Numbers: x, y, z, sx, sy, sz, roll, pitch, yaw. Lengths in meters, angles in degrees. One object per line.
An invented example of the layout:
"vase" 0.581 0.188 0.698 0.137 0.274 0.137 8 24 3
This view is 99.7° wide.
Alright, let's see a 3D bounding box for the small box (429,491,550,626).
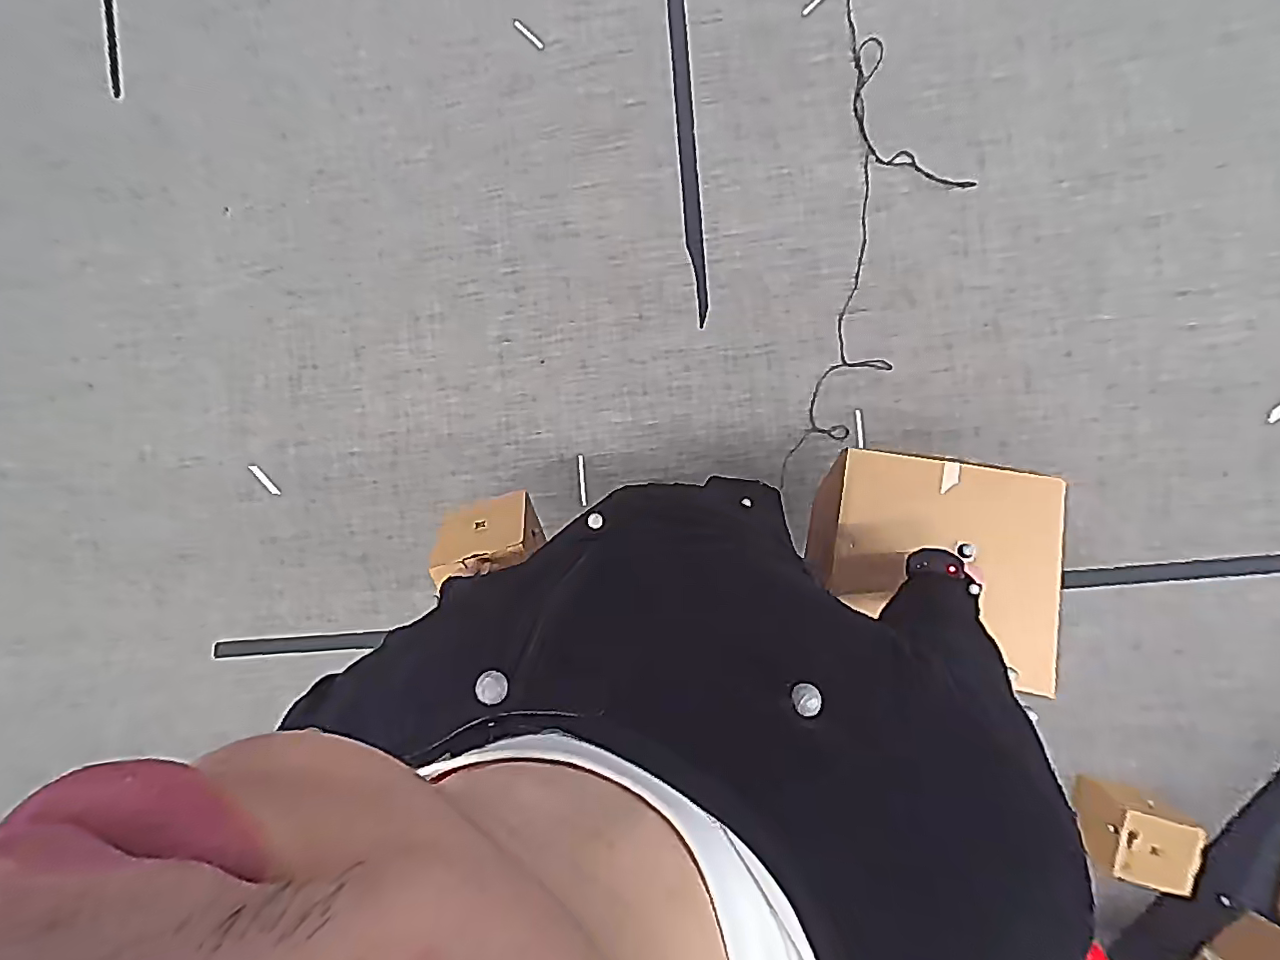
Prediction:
"small box" -0.270 0.151 1.012 0.168 0.179 0.176 -15 122 -2
